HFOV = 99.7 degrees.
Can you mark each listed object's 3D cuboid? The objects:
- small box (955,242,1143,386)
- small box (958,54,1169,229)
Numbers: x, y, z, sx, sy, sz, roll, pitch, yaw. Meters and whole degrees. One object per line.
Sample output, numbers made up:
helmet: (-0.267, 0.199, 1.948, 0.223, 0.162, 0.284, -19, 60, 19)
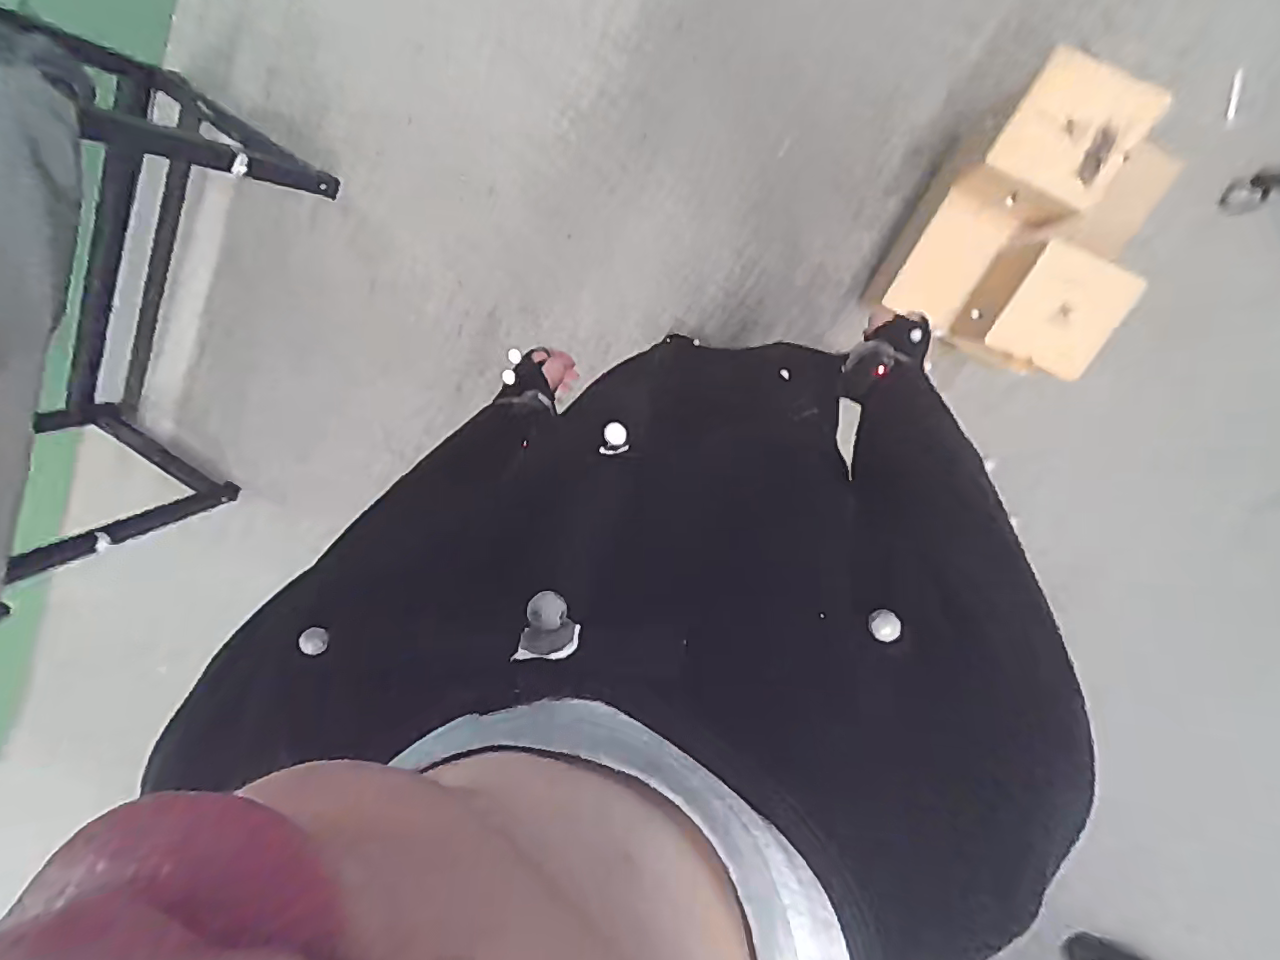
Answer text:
small box: (0.687, -0.286, 0.942, 0.168, 0.176, 0.179, 25, 110, 1)
small box: (0.660, -0.526, 0.872, 0.179, 0.176, 0.168, 32, 111, 5)
